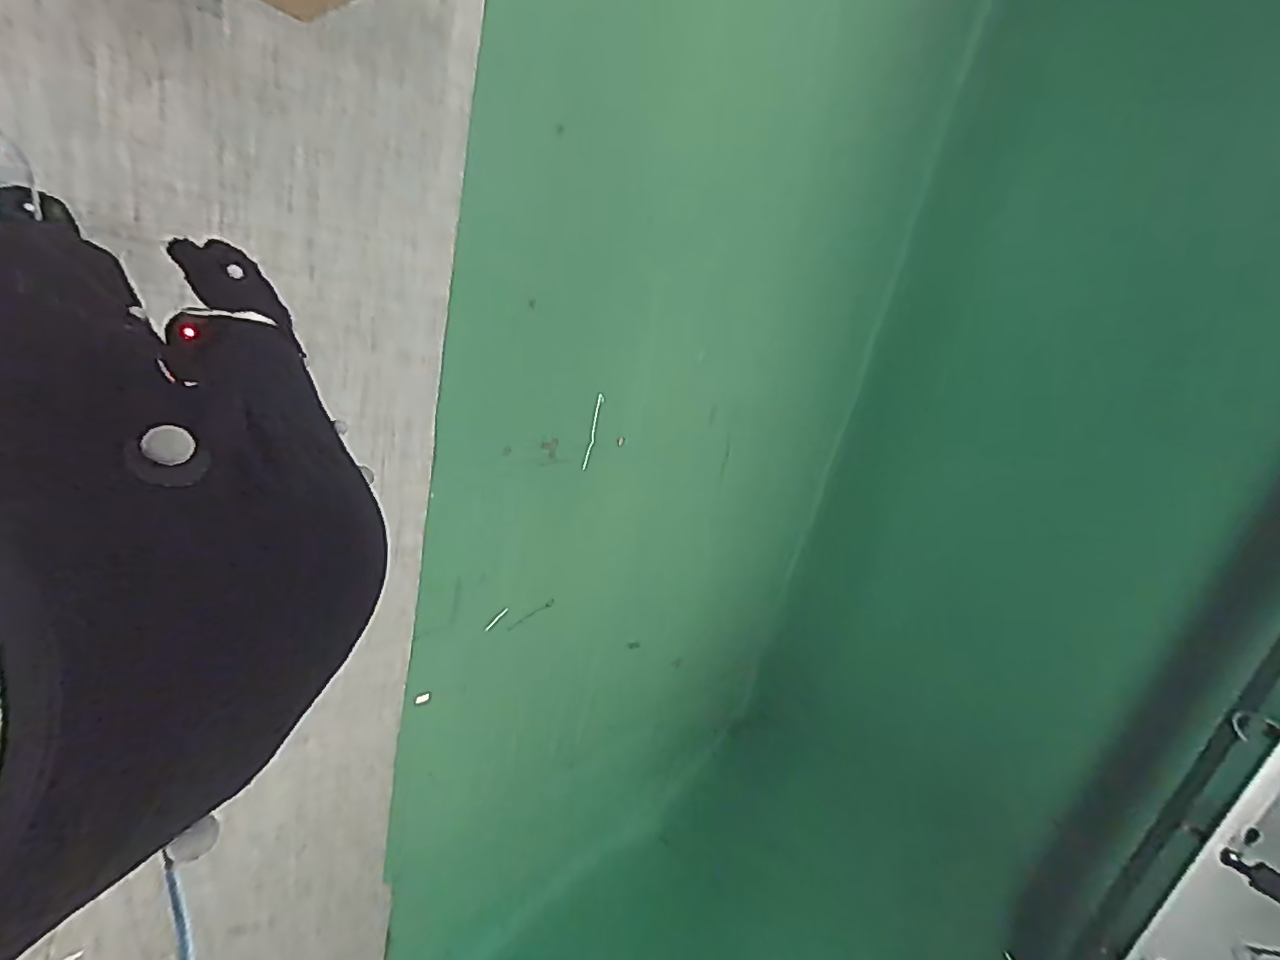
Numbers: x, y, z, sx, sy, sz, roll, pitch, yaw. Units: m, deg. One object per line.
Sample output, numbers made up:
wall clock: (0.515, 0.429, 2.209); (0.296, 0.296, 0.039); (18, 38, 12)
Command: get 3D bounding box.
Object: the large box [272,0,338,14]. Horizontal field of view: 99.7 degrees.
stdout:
large box: (-0.610, -0.923, 0.717); (0.408, 0.320, 0.320); (-4, 114, -48)
